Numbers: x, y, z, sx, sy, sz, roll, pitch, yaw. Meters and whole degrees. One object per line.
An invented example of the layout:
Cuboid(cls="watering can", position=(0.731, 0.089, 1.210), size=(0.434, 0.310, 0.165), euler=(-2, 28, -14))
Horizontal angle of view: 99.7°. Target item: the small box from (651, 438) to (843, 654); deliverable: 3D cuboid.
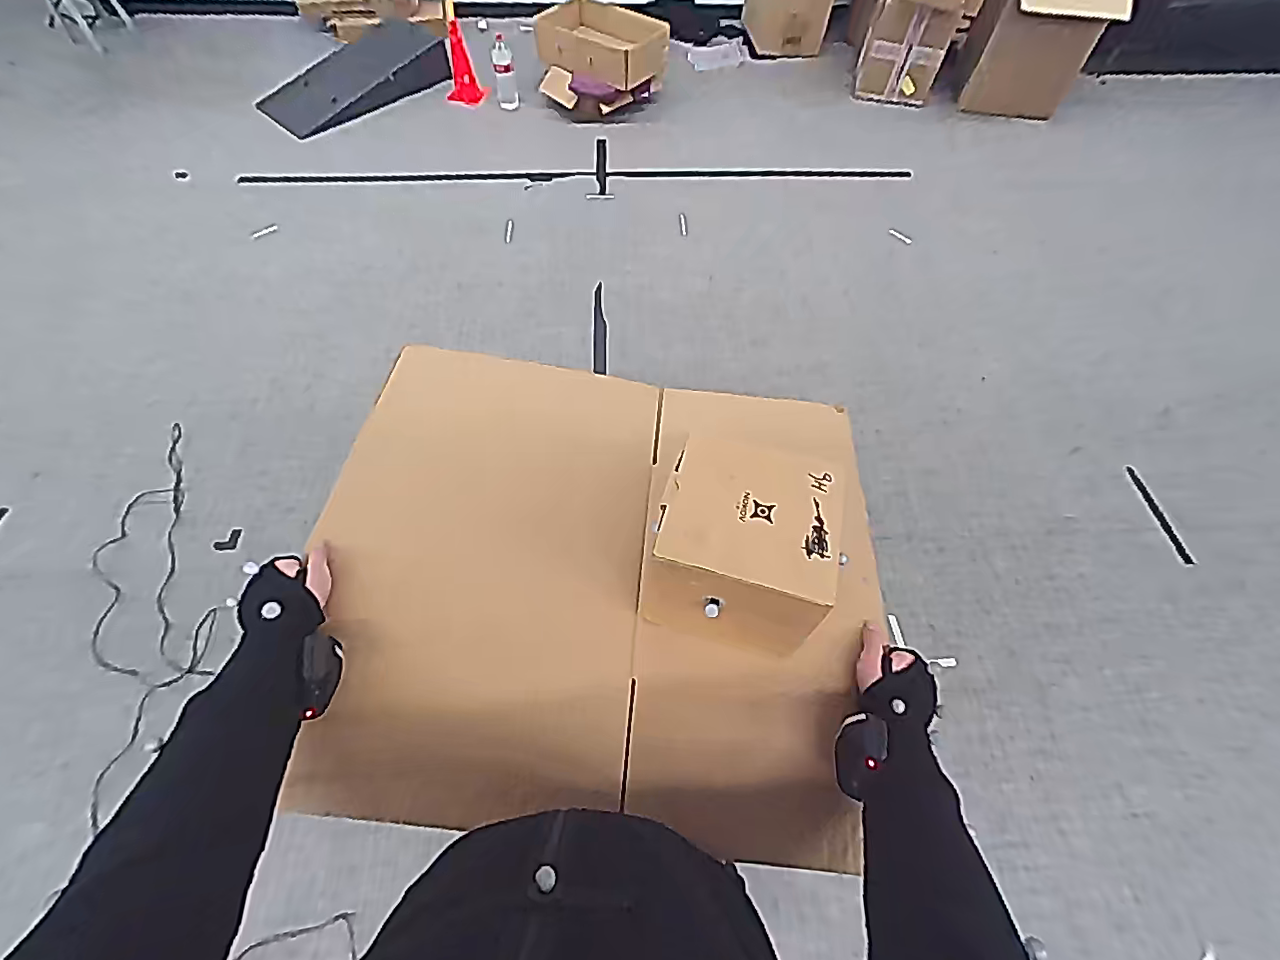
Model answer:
Cuboid(cls="small box", position=(0.114, 0.081, 0.620), size=(0.179, 0.176, 0.168), euler=(14, 56, 8))
